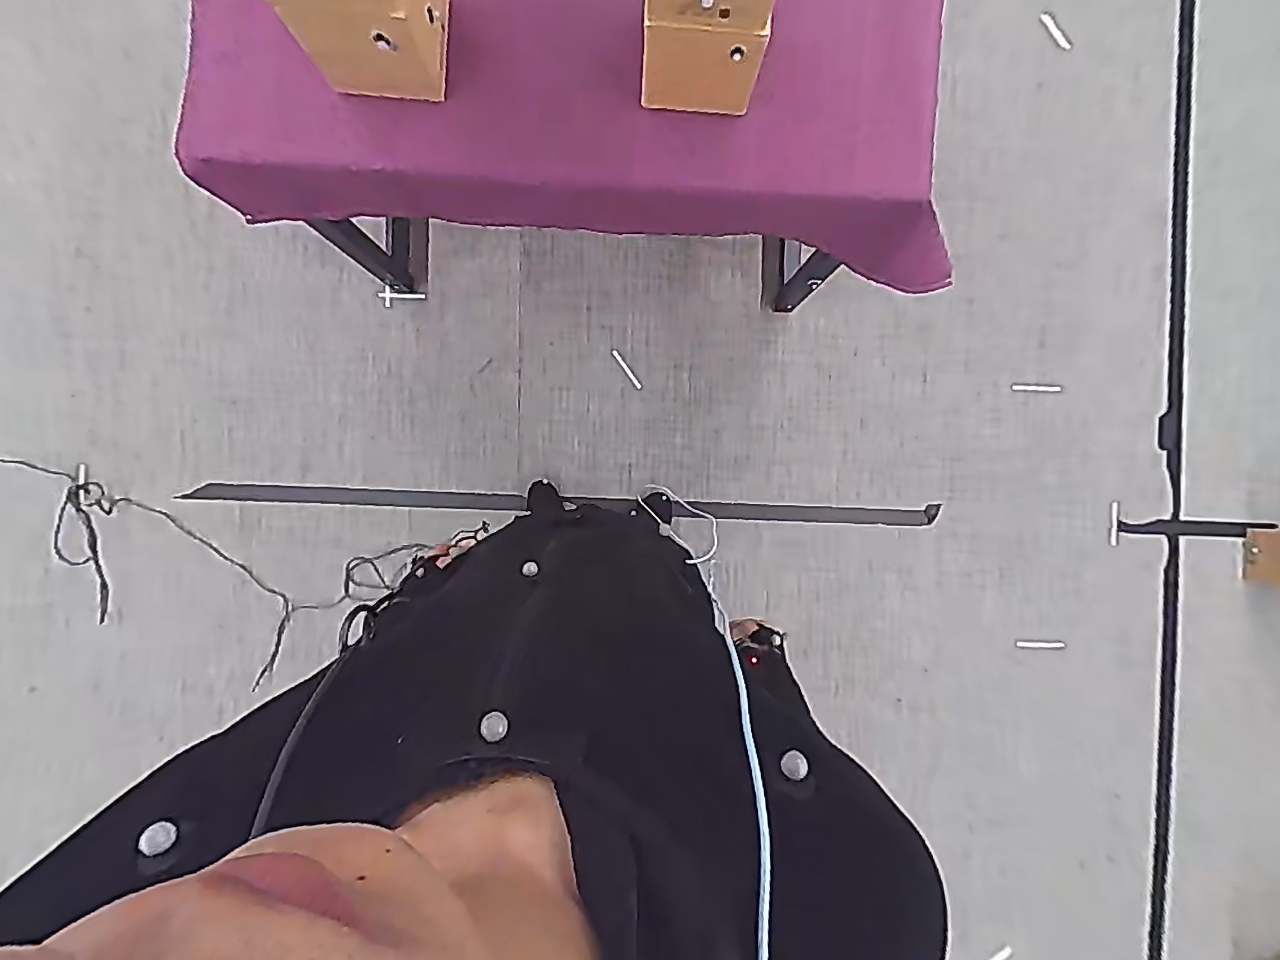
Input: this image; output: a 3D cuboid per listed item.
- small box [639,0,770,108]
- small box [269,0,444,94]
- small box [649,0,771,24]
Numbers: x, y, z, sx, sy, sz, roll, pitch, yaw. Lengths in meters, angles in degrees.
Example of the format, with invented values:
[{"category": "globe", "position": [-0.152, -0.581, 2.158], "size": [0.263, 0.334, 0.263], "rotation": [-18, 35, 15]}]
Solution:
[{"category": "small box", "position": [0.090, -0.694, 0.808], "size": [0.179, 0.176, 0.168], "rotation": [3, 91, -3]}, {"category": "small box", "position": [-0.398, -0.703, 0.787], "size": [0.179, 0.176, 0.168], "rotation": [4, 91, -2]}, {"category": "small box", "position": [0.096, -0.703, 0.643], "size": [0.168, 0.176, 0.179], "rotation": [3, 92, -2]}]
